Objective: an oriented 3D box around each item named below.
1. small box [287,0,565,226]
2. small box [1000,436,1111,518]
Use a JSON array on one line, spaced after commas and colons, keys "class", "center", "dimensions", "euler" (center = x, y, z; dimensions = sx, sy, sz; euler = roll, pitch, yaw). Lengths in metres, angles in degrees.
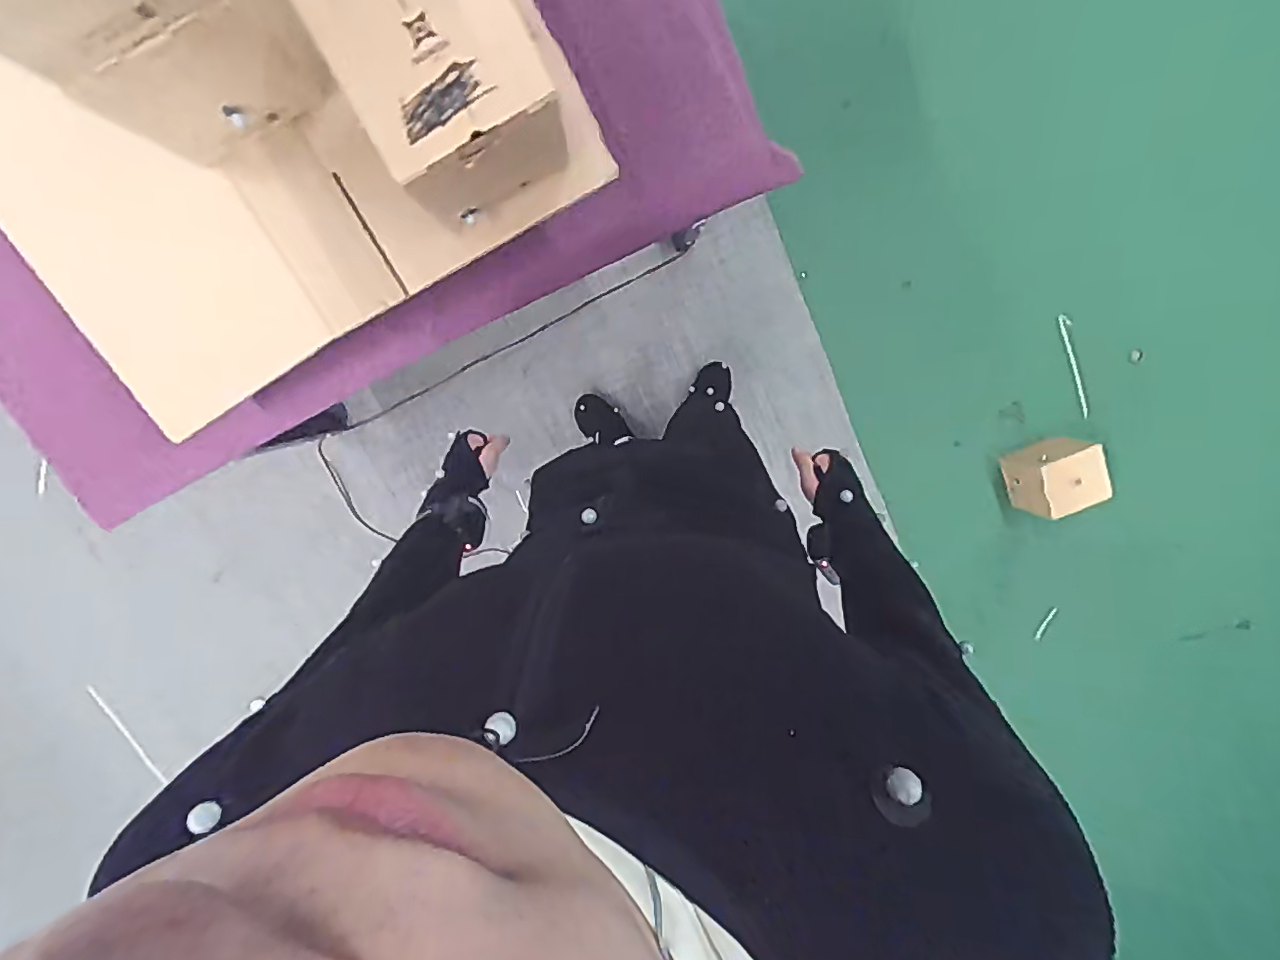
[{"class": "small box", "center": [-0.188, -0.381, 0.541], "dimensions": [0.168, 0.176, 0.179], "euler": [-29, 101, 2]}, {"class": "small box", "center": [1.201, -0.015, 1.571], "dimensions": [0.179, 0.176, 0.168], "euler": [-24, 102, 4]}]
